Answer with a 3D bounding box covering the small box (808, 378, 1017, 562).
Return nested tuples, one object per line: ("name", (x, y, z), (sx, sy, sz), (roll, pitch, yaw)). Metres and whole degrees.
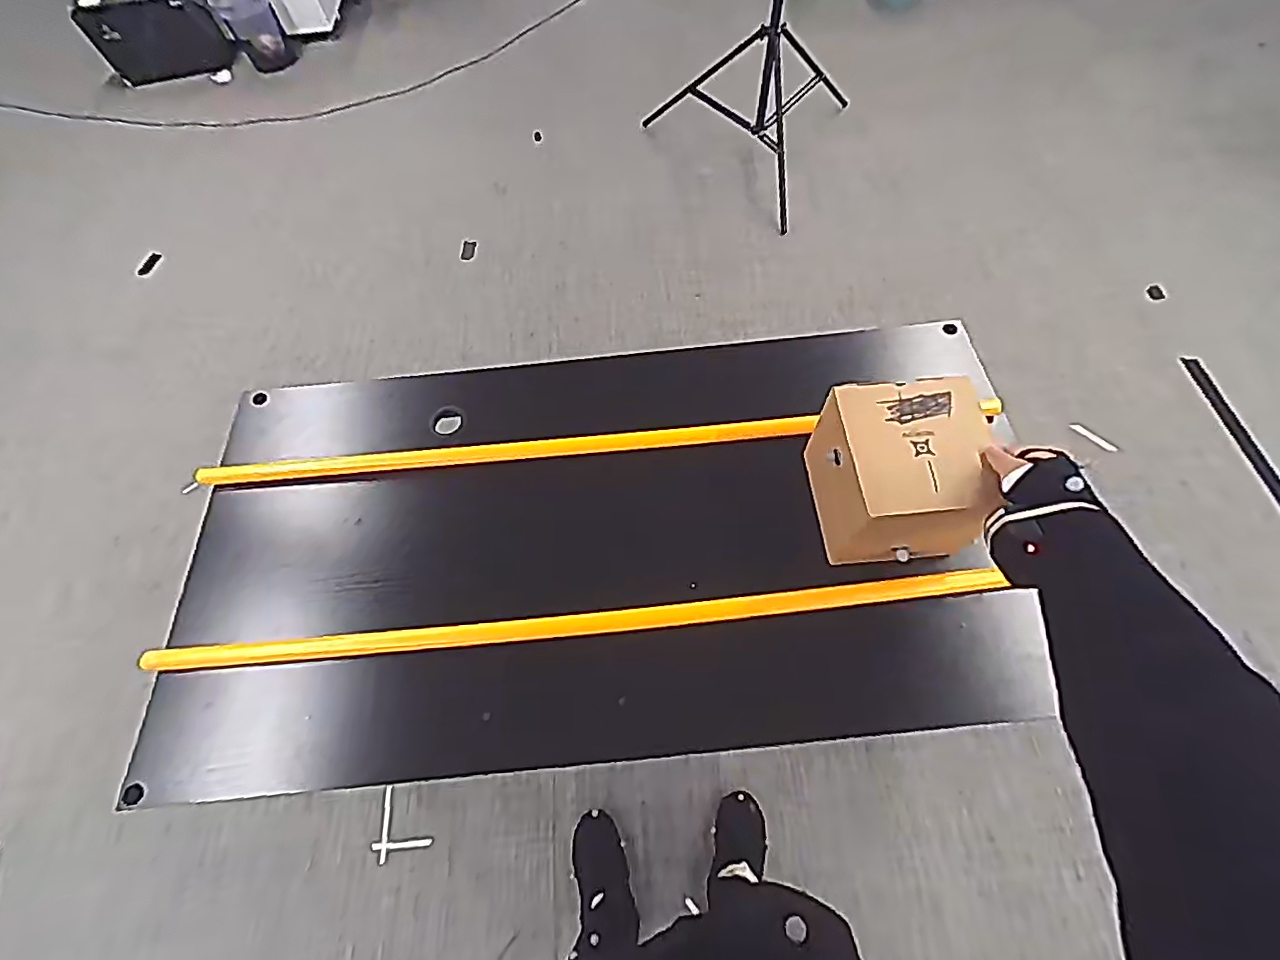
("small box", (0.326, -0.007, 0.693), (0.168, 0.176, 0.179), (-5, 63, 2))
